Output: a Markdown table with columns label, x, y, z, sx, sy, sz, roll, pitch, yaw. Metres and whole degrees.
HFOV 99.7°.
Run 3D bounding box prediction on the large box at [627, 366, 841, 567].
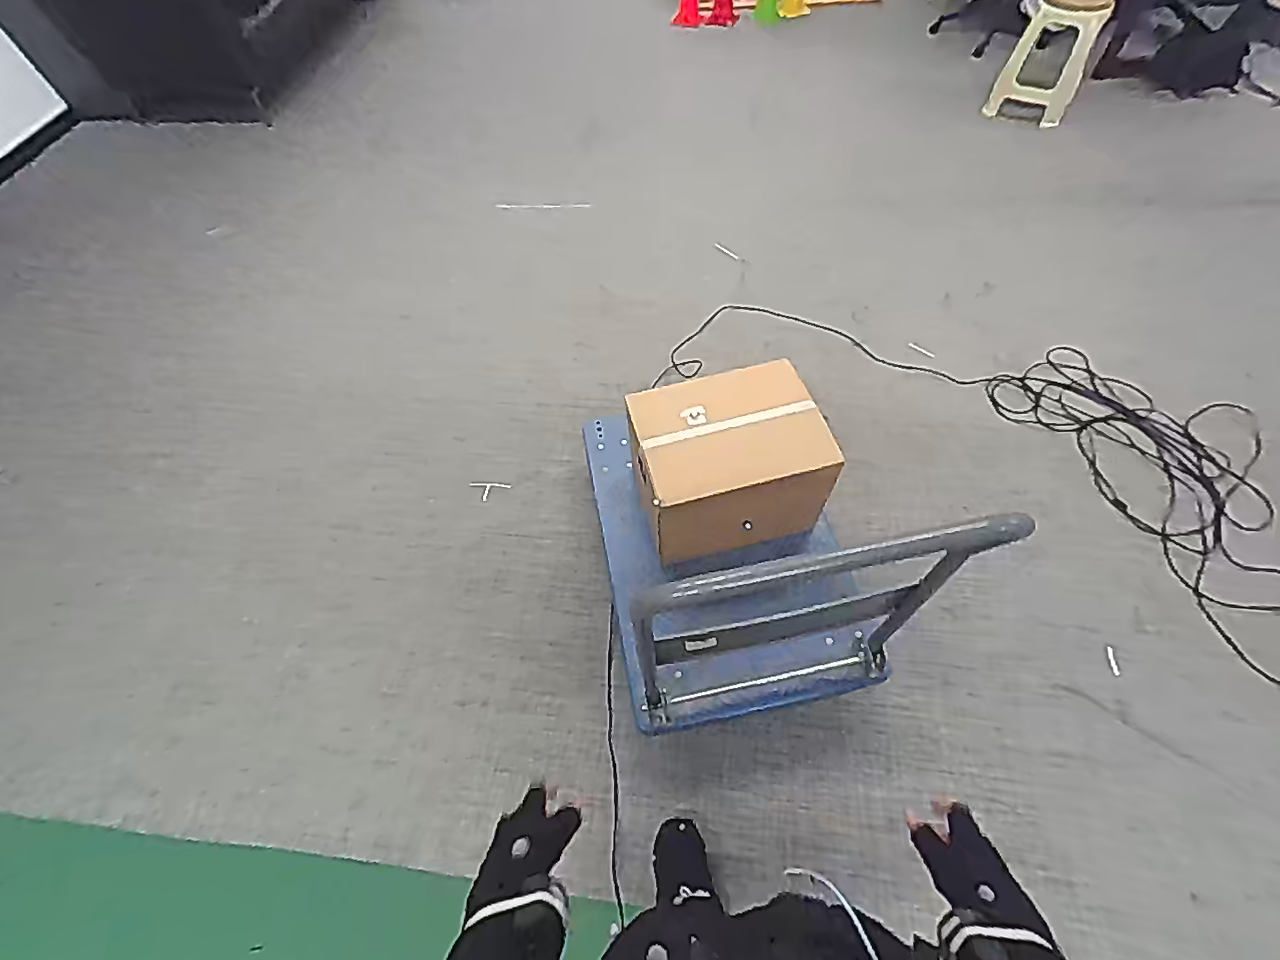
| label | x | y | z | sx | sy | sz | roll | pitch | yaw |
| --- | --- | --- | --- | --- | --- | --- | --- | --- | --- |
| large box | 0.207 | -0.025 | 1.327 | 0.408 | 0.320 | 0.320 | -14 | 57 | -5 |
